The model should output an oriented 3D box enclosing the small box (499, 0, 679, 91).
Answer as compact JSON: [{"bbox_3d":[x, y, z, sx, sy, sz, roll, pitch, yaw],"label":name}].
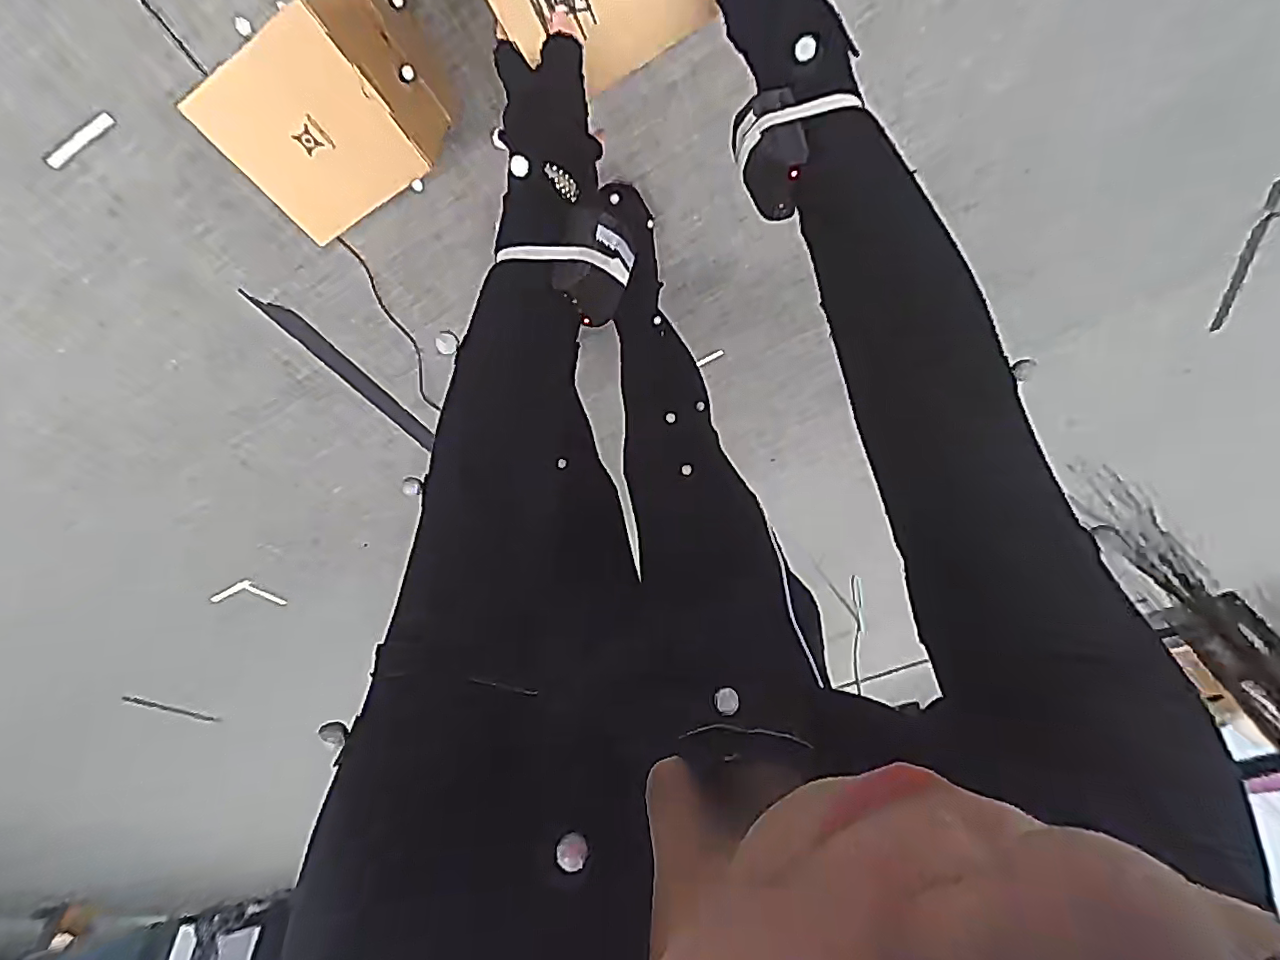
[{"bbox_3d":[-0.066,-0.535,0.529,0.179,0.176,0.168,-26,135,16],"label":"small box"}]

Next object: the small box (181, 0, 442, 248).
[{"bbox_3d":[-0.352,-0.410,0.618,0.179,0.176,0.168,-25,136,16],"label":"small box"}]

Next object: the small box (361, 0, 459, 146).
[{"bbox_3d":[-0.365,-0.534,0.723,0.168,0.176,0.179,-22,138,14],"label":"small box"}]
